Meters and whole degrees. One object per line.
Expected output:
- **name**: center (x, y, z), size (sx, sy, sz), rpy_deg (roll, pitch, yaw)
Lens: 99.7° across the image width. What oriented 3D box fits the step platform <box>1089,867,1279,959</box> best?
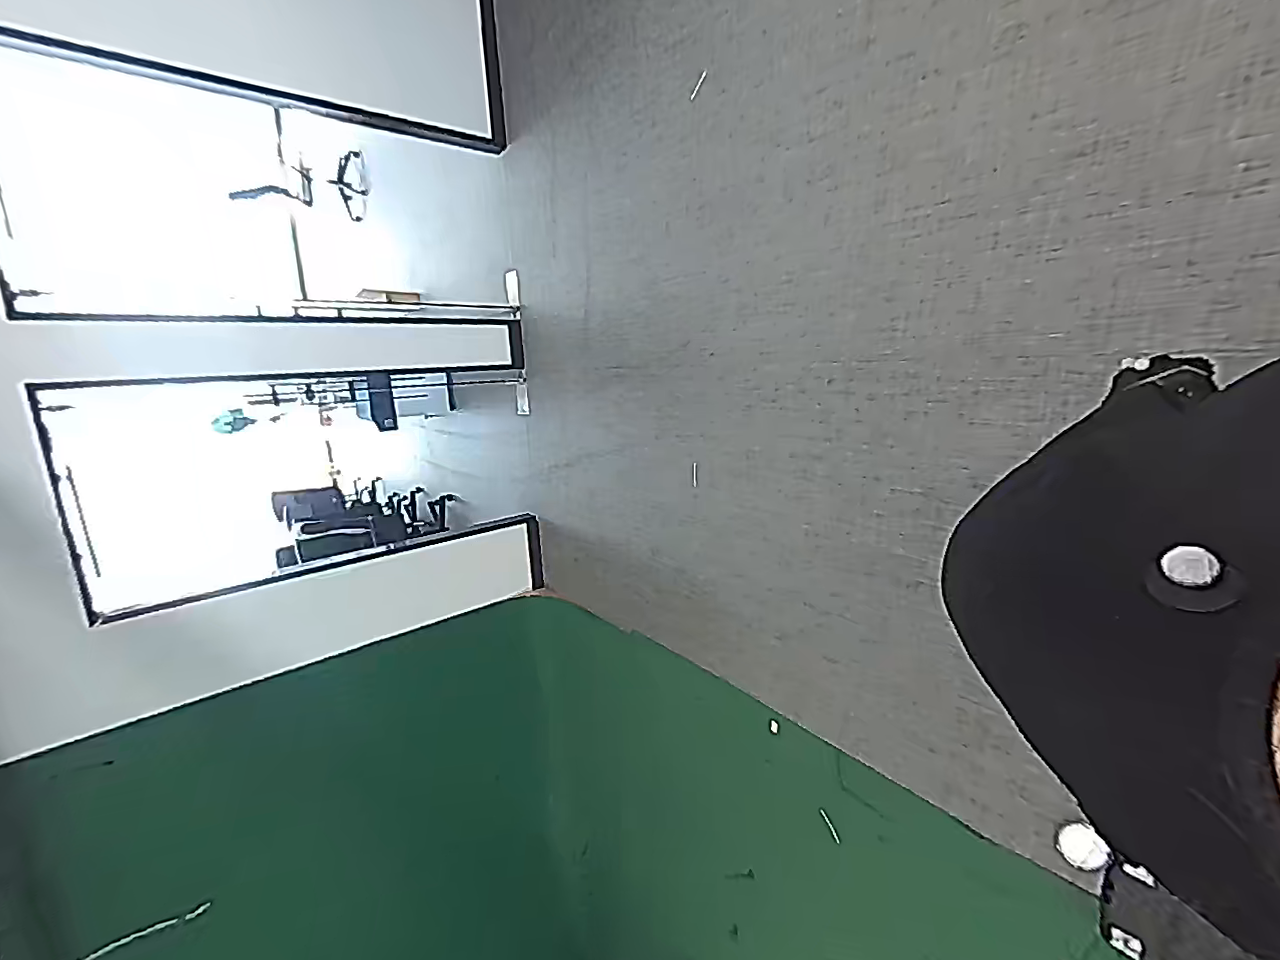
- **step platform**: center (1.145, 0.966, 0.839), size (0.684, 0.204, 0.286), rpy_deg (12, 109, 49)
